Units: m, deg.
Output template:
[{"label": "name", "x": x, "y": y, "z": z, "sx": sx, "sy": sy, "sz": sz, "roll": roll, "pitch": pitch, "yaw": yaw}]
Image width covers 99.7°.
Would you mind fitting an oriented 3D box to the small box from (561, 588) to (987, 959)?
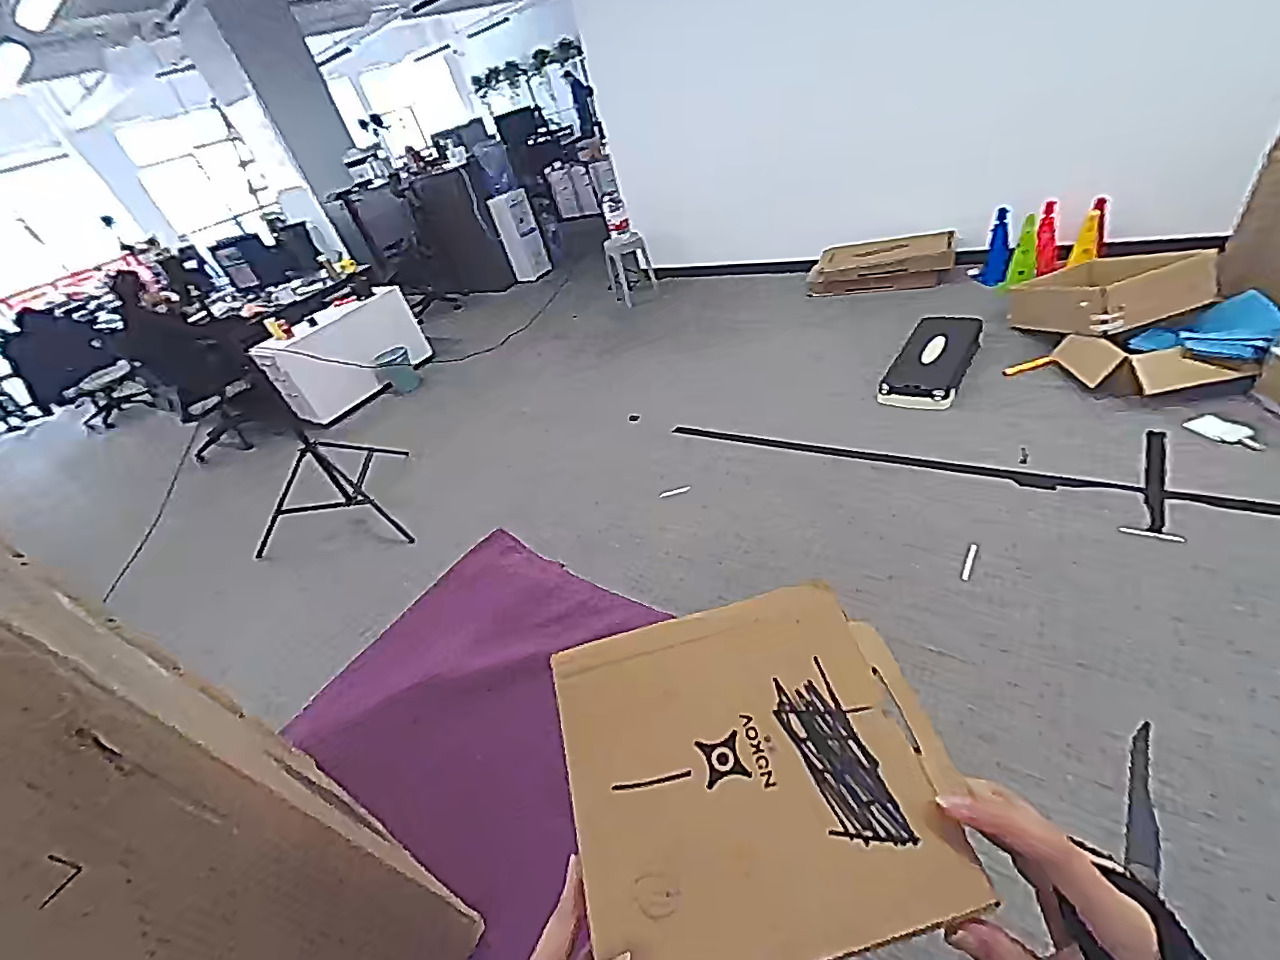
[{"label": "small box", "x": 0.061, "y": 0.197, "z": 0.342, "sx": 0.179, "sy": 0.176, "sz": 0.168, "roll": -15, "pitch": 49, "yaw": -4}]
